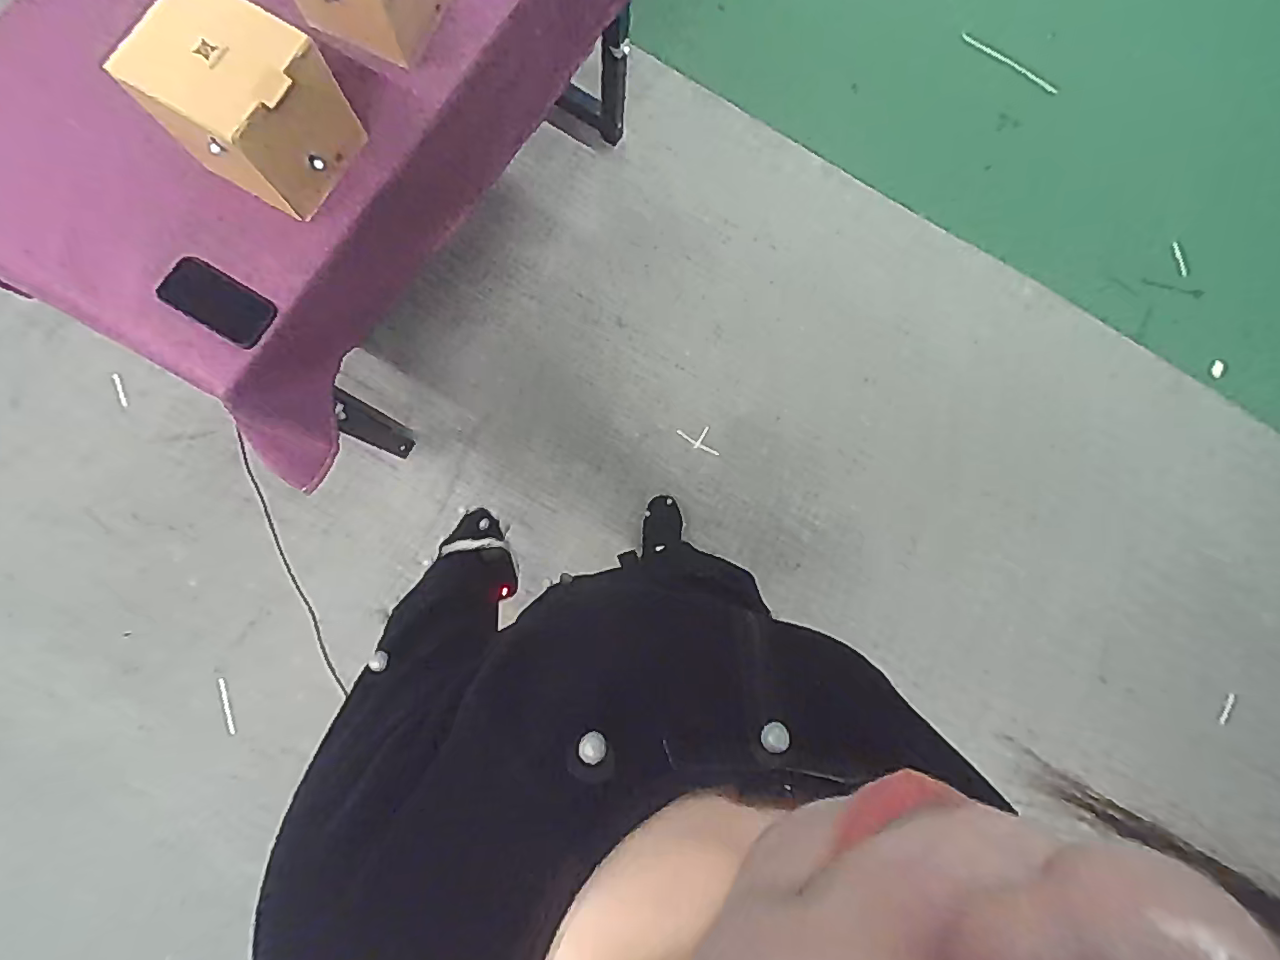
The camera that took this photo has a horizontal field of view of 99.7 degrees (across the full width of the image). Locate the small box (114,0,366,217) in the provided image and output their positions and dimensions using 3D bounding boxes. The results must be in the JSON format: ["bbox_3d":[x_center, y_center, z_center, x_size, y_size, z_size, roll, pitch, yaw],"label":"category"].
[{"bbox_3d":[-0.520,-0.500,0.734,0.179,0.176,0.168,29,82,-1],"label":"small box"}]
